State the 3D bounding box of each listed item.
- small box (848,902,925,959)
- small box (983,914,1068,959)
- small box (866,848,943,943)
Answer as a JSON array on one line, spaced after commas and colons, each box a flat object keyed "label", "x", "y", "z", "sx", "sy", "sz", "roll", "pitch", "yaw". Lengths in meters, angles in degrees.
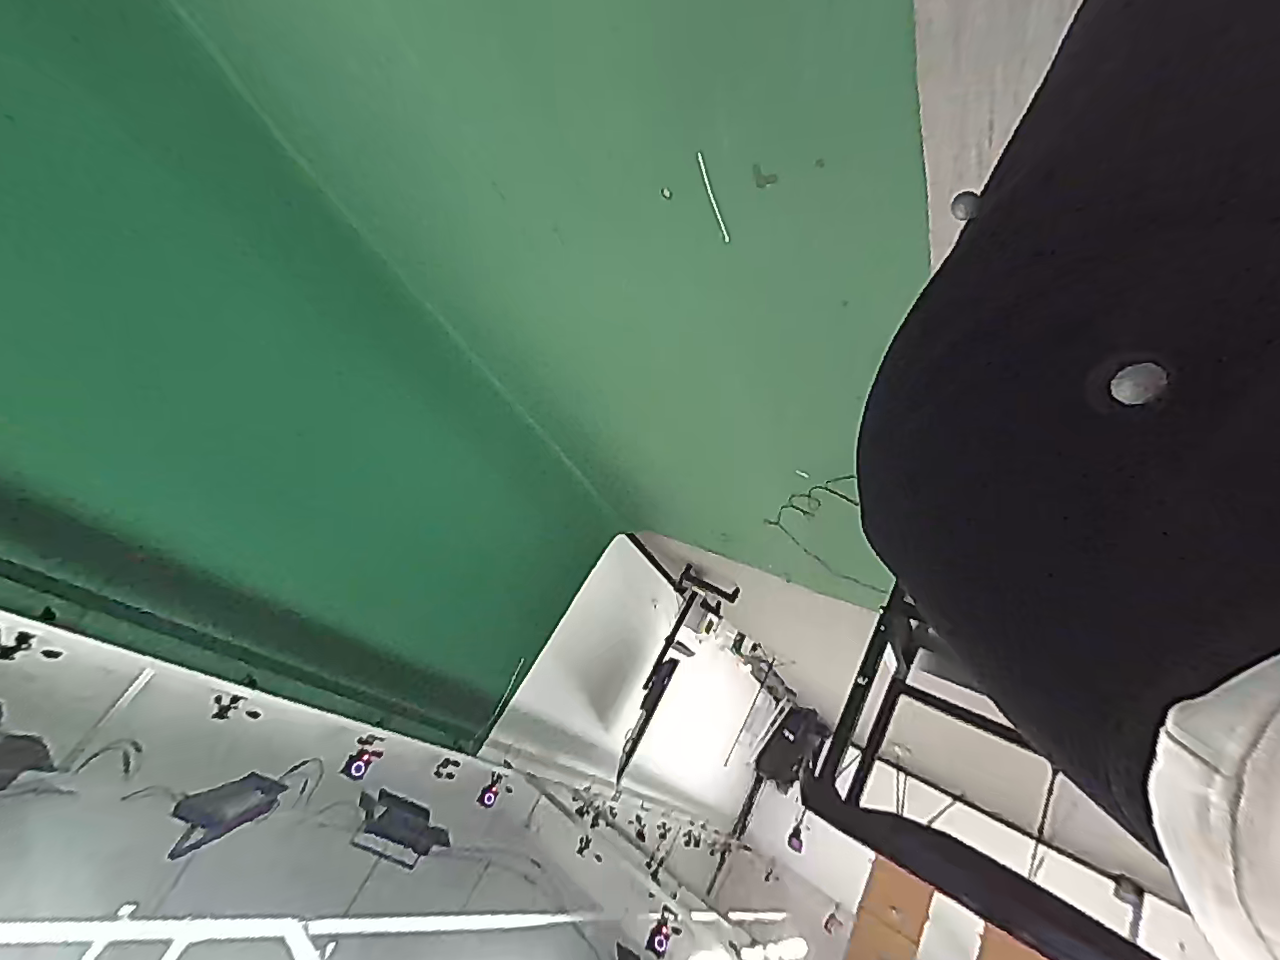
[{"label": "small box", "x": 0.747, "y": 1.417, "z": 1.630, "sx": 0.179, "sy": 0.176, "sz": 0.168, "roll": 15, "pitch": 154, "yaw": 36}, {"label": "small box", "x": 1.061, "y": 1.350, "z": 1.494, "sx": 0.179, "sy": 0.176, "sz": 0.168, "roll": 15, "pitch": 155, "yaw": 40}, {"label": "small box", "x": 0.827, "y": 1.284, "z": 1.683, "sx": 0.179, "sy": 0.176, "sz": 0.168, "roll": 17, "pitch": 156, "yaw": 36}]
